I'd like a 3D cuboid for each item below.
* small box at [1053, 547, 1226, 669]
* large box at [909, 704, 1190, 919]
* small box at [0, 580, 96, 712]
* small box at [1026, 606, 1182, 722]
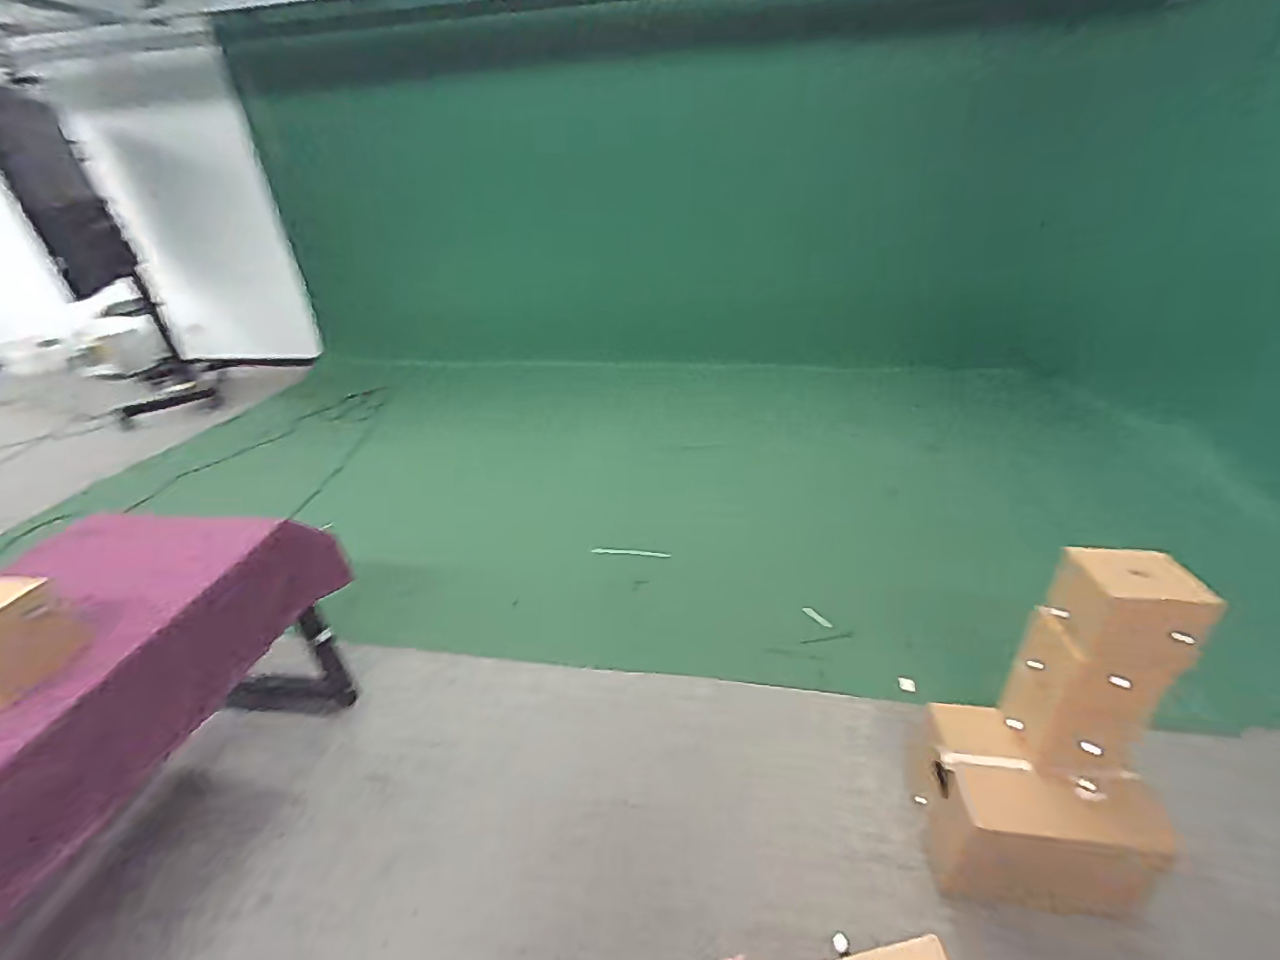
[{"bbox_3d":[0.979,0.254,1.081,0.179,0.176,0.168,2,27,11],"label":"small box"},{"bbox_3d":[0.932,0.787,1.305,0.408,0.320,0.320,3,31,8],"label":"large box"},{"bbox_3d":[-1.223,0.316,1.044,0.168,0.176,0.179,0,31,8],"label":"small box"},{"bbox_3d":[0.981,0.395,1.163,0.179,0.176,0.168,1,28,9],"label":"small box"}]
